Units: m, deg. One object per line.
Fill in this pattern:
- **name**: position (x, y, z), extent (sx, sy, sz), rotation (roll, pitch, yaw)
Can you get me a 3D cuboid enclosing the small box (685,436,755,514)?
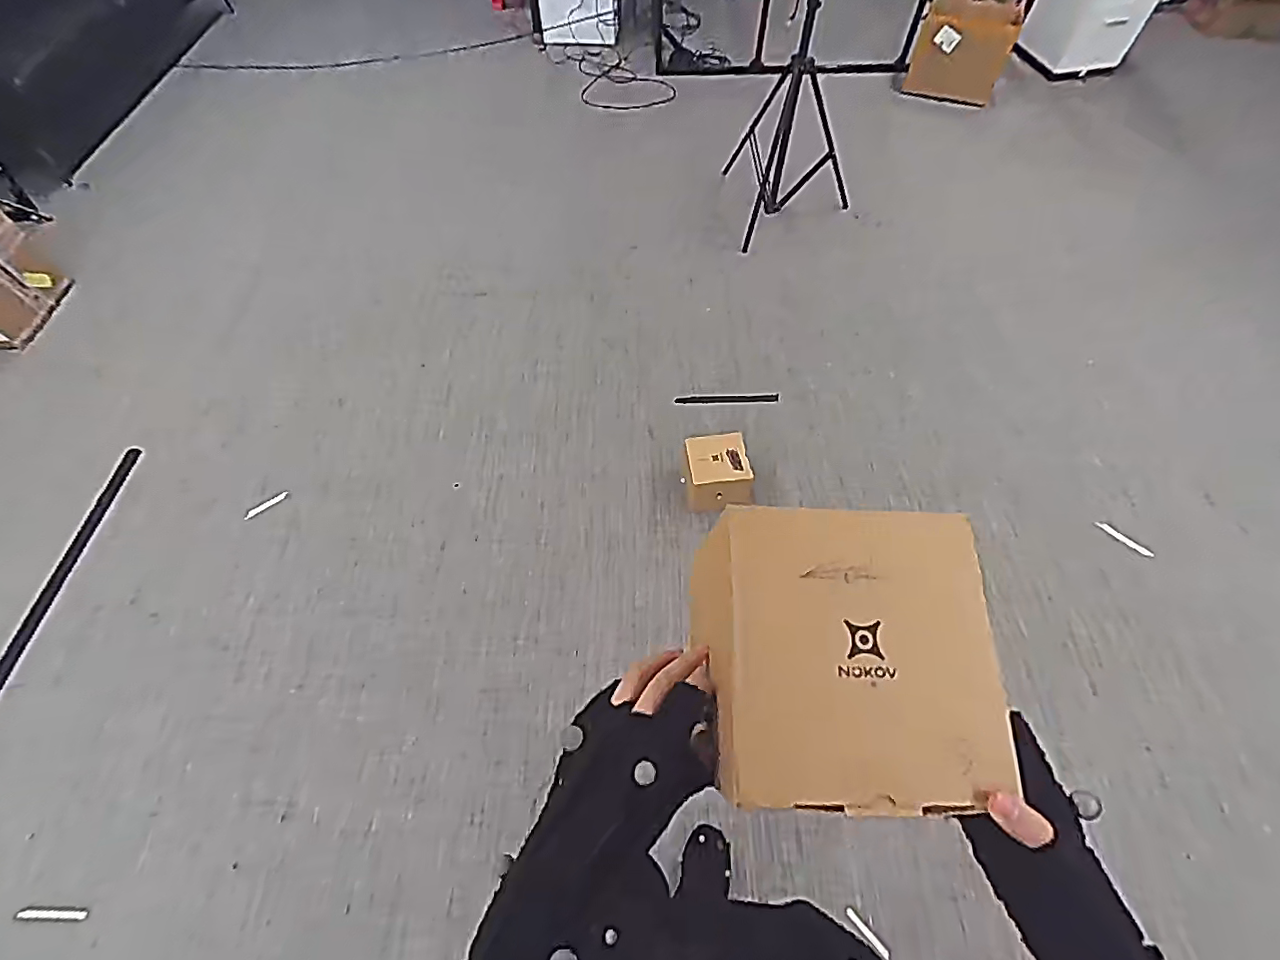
- **small box**: position (0.236, -0.012, 1.637), extent (0.179, 0.176, 0.168), rotation (-6, 58, -2)
